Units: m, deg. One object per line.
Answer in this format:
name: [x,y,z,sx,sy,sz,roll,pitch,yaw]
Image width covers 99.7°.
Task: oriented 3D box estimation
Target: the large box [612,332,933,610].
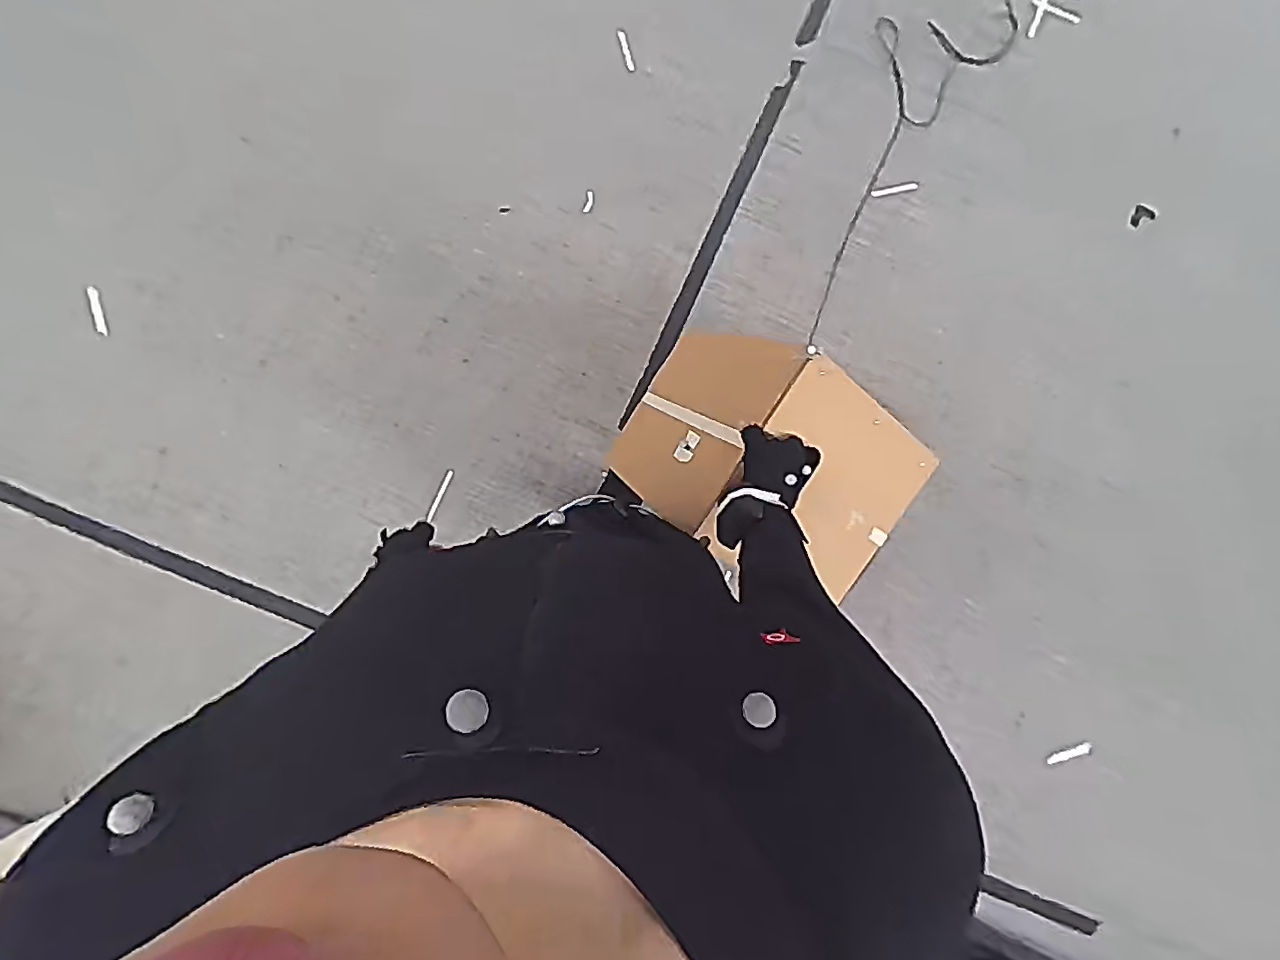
large box: [0.208,-0.038,0.975,0.320,0.408,0.320,31,95,-28]
